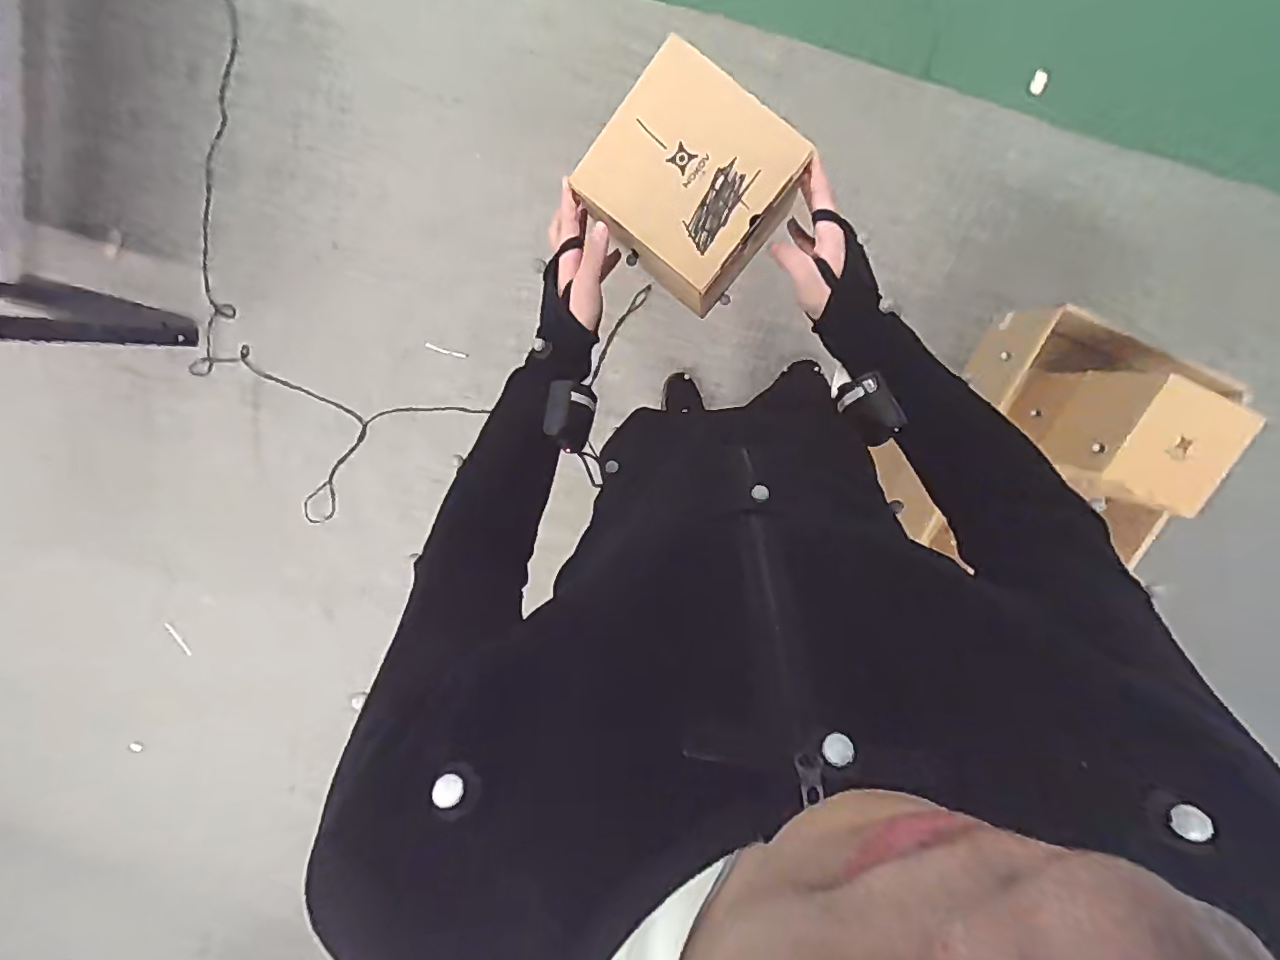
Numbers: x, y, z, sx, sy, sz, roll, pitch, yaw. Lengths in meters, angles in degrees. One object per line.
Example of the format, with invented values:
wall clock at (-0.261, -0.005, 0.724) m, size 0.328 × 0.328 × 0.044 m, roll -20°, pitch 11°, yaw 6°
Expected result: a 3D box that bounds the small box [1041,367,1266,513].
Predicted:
small box at (0.822, -0.076, 0.891) m, size 0.168 × 0.176 × 0.179 m, roll 25°, pitch 105°, yaw -1°
